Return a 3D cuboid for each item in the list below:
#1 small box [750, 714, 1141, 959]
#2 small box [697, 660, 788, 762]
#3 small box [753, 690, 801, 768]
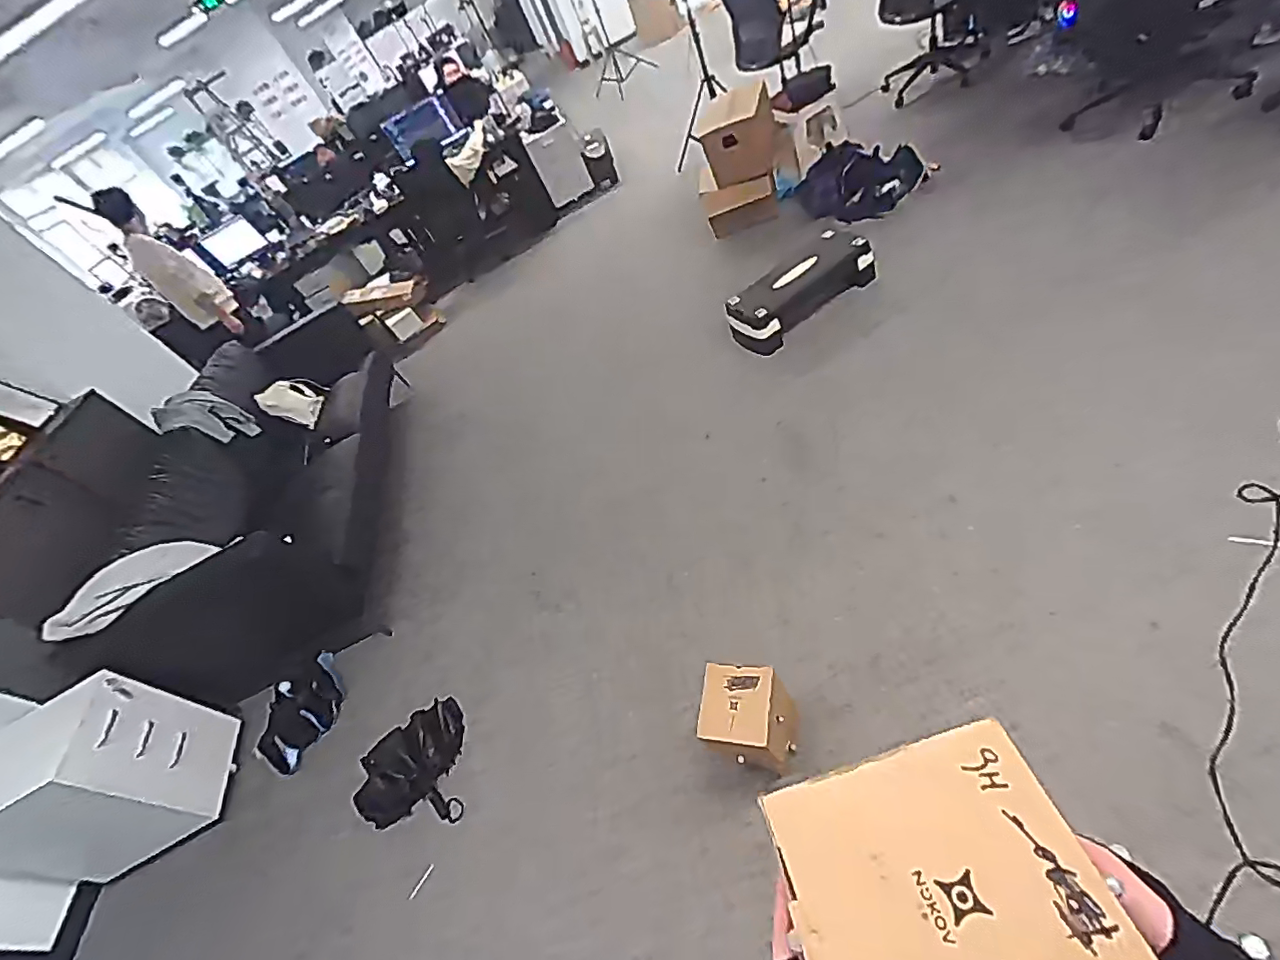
[{"bbox_3d":[0.198,0.297,0.388,0.179,0.176,0.168,-20,50,3],"label":"small box"},{"bbox_3d":[0.254,0.555,1.302,0.168,0.176,0.179,-5,51,28],"label":"small box"},{"bbox_3d":[0.308,0.639,1.435,0.179,0.176,0.168,7,57,34],"label":"small box"}]
